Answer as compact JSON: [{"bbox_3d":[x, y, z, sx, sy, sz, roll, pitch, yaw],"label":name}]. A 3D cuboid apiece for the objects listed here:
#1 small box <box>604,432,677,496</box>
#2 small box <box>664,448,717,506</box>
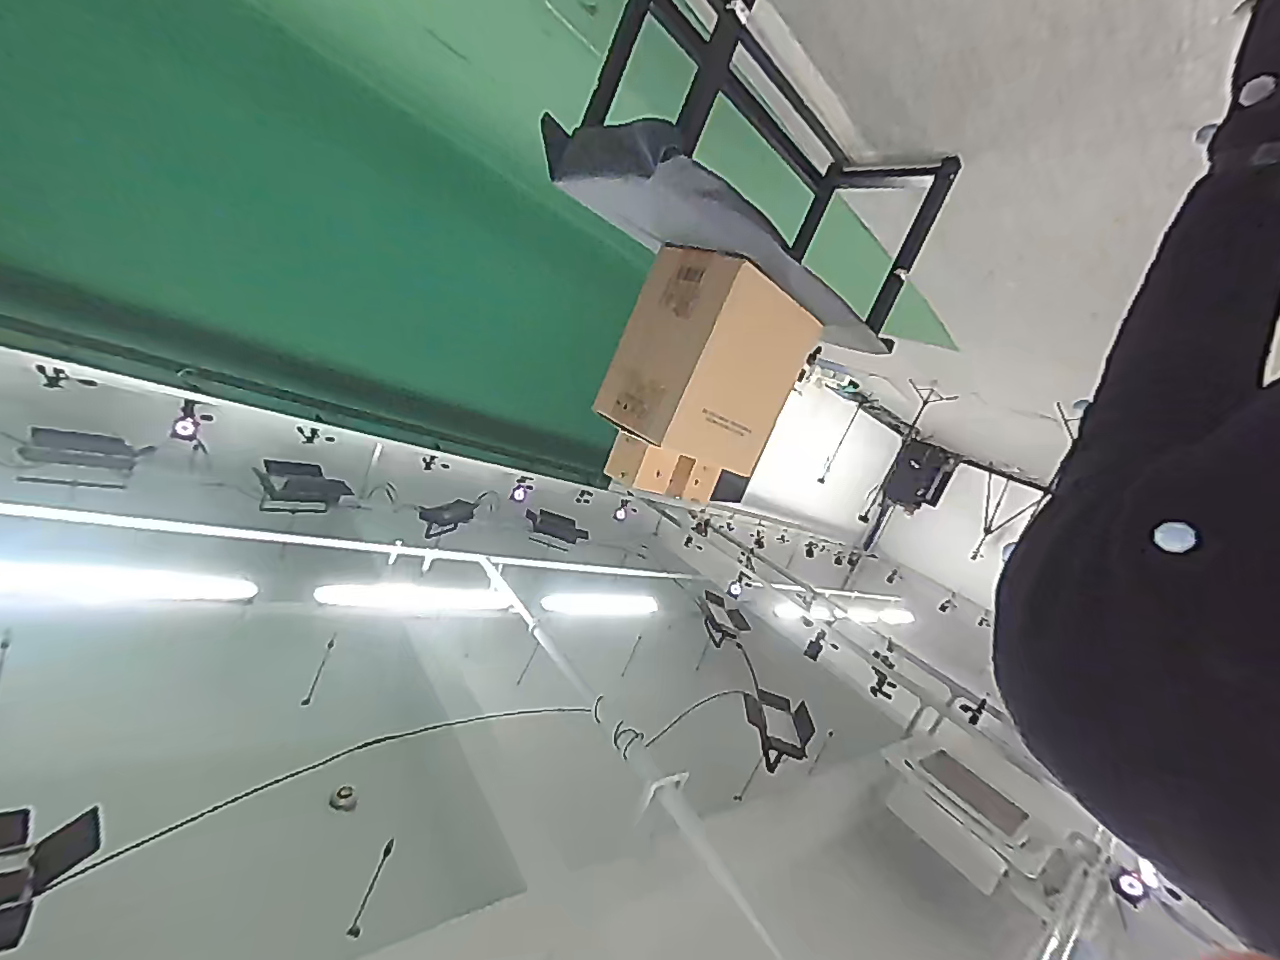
[{"bbox_3d":[0.005,-0.060,1.950,0.179,0.176,0.168,13,-170,-46],"label":"small box"},{"bbox_3d":[0.182,-0.015,2.130,0.168,0.176,0.179,17,-171,-45],"label":"small box"}]
